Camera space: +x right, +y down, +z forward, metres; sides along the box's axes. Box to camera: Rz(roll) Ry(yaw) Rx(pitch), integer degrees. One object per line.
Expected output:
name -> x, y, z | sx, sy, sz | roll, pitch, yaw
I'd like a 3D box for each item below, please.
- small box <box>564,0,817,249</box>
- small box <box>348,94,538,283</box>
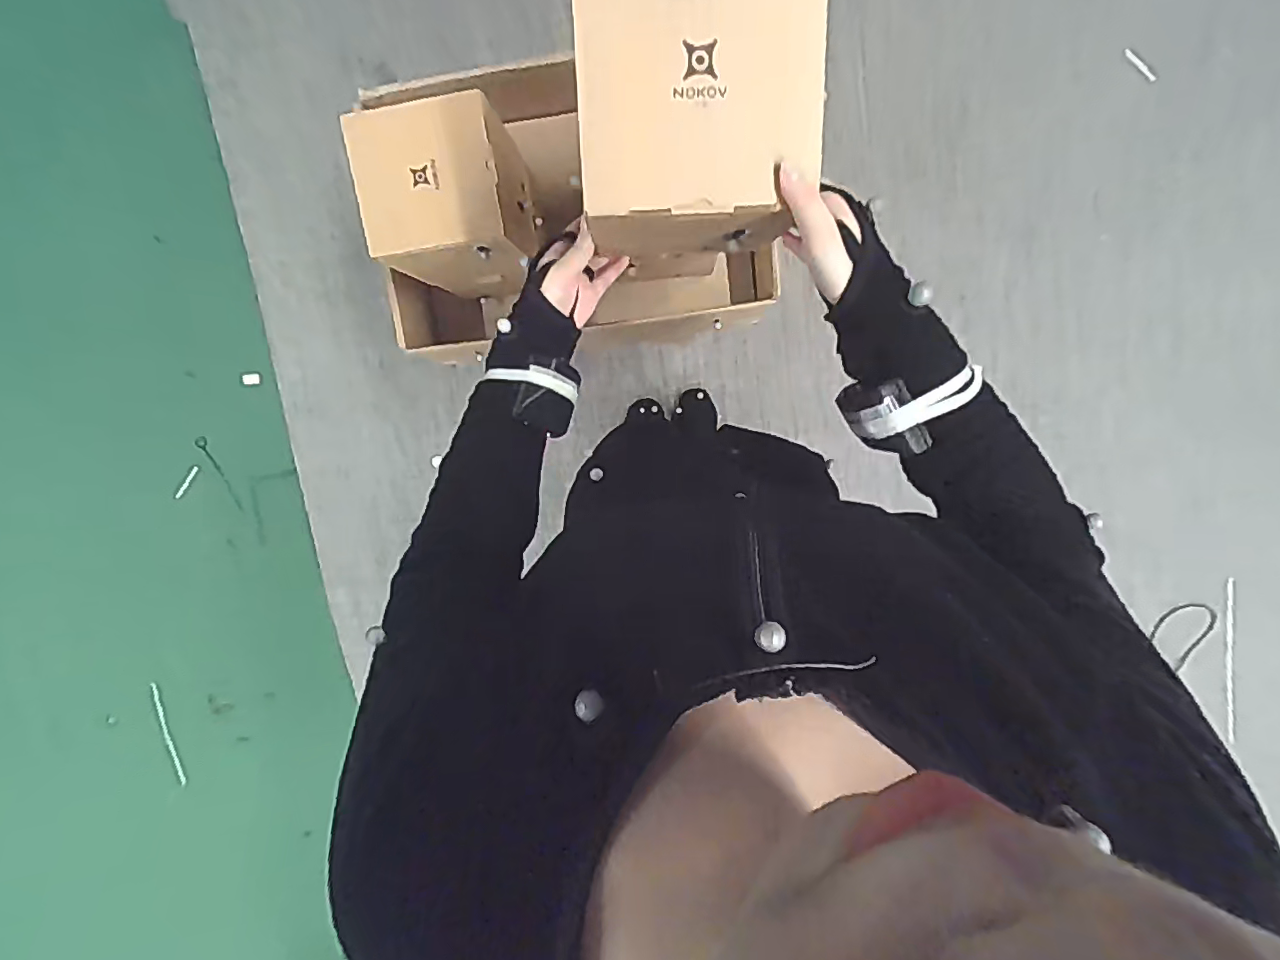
small box -> 0.034, -0.290, 0.436 | 0.168, 0.176, 0.179 | -2, 103, 1
small box -> -0.253, -0.377, 0.734 | 0.179, 0.176, 0.168 | -8, 98, 4
